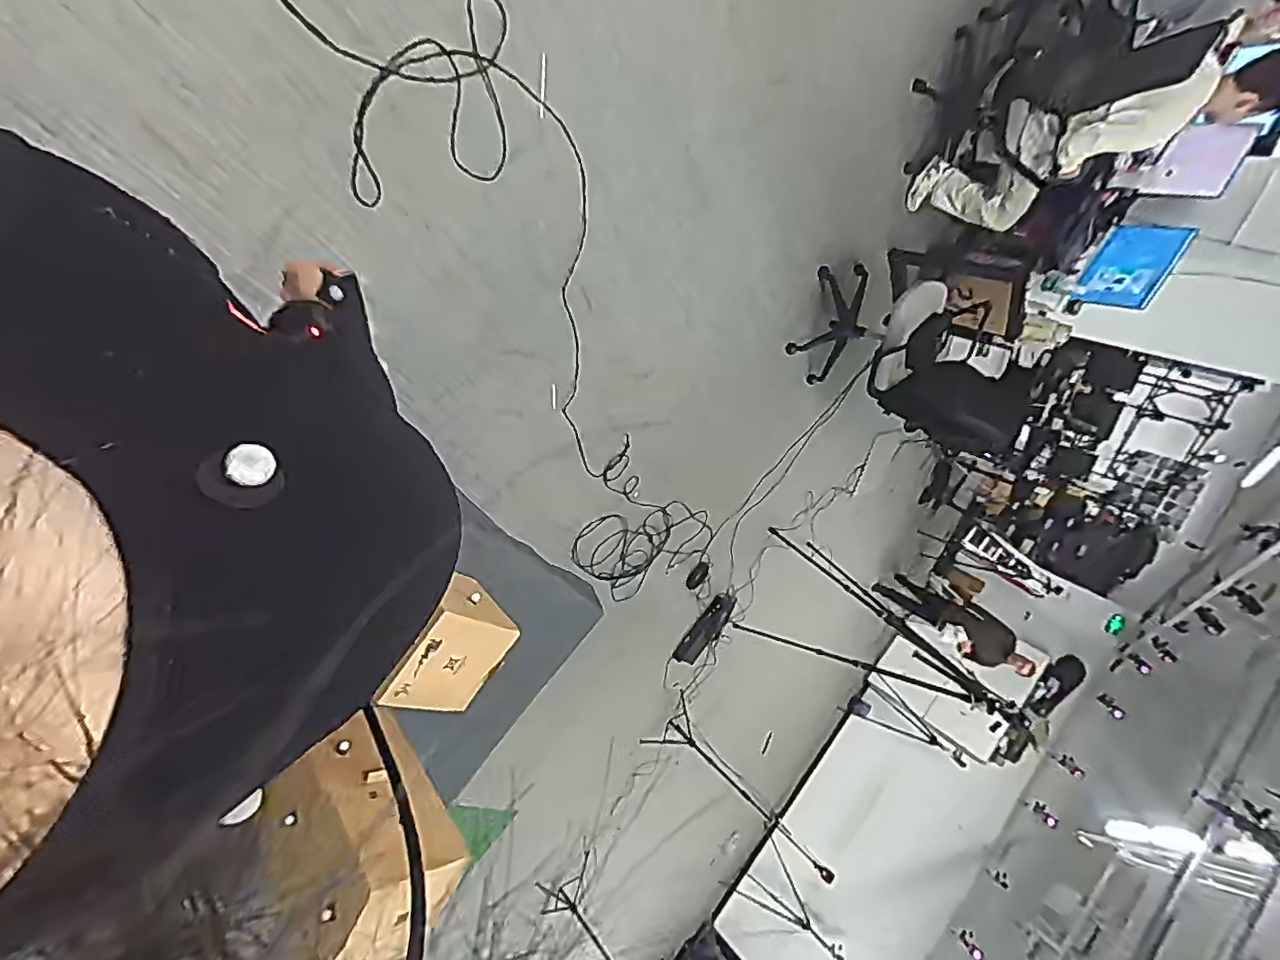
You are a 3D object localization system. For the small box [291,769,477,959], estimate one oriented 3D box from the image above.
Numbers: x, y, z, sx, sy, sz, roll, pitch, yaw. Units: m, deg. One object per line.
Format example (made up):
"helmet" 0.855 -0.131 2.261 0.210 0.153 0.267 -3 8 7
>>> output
"small box" -0.385 0.562 0.808 0.168 0.176 0.179 25 95 -52

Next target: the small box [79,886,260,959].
"small box" -0.729 0.776 0.839 0.168 0.176 0.179 -43 140 -21

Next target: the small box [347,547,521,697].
"small box" -0.341 0.233 0.899 0.168 0.176 0.179 -55 143 -4

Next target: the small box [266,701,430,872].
"small box" -0.495 0.494 0.910 0.168 0.176 0.179 21 99 -52
